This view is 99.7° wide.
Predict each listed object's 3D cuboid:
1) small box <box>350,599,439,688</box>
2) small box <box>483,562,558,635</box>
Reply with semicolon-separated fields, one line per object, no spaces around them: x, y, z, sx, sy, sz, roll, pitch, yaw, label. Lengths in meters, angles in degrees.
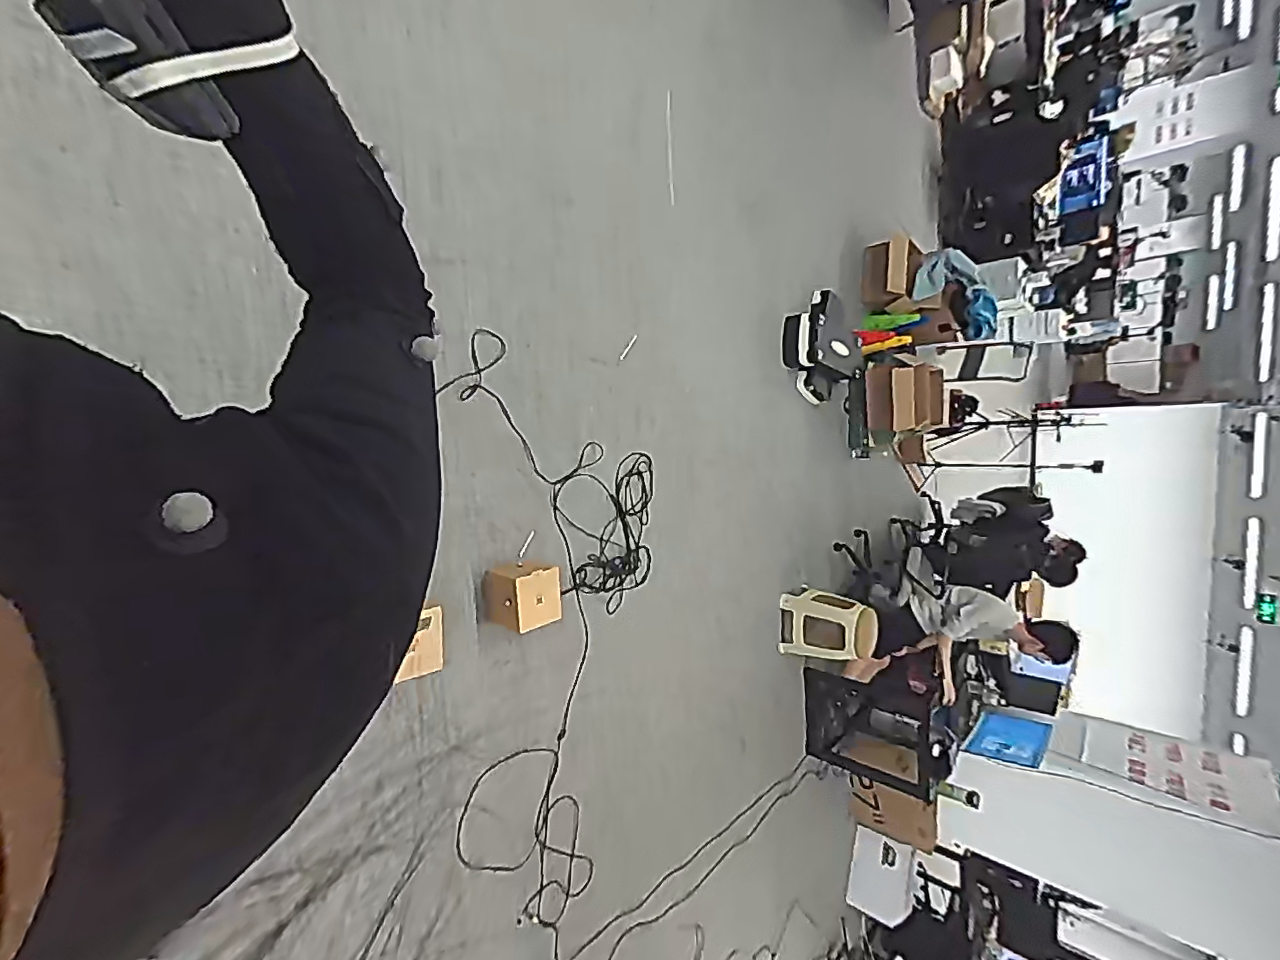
-0.651;0.422;1.432;0.168;0.176;0.179;-2;94;-48;small box
-0.383;0.372;1.729;0.168;0.176;0.179;-10;99;-48;small box
